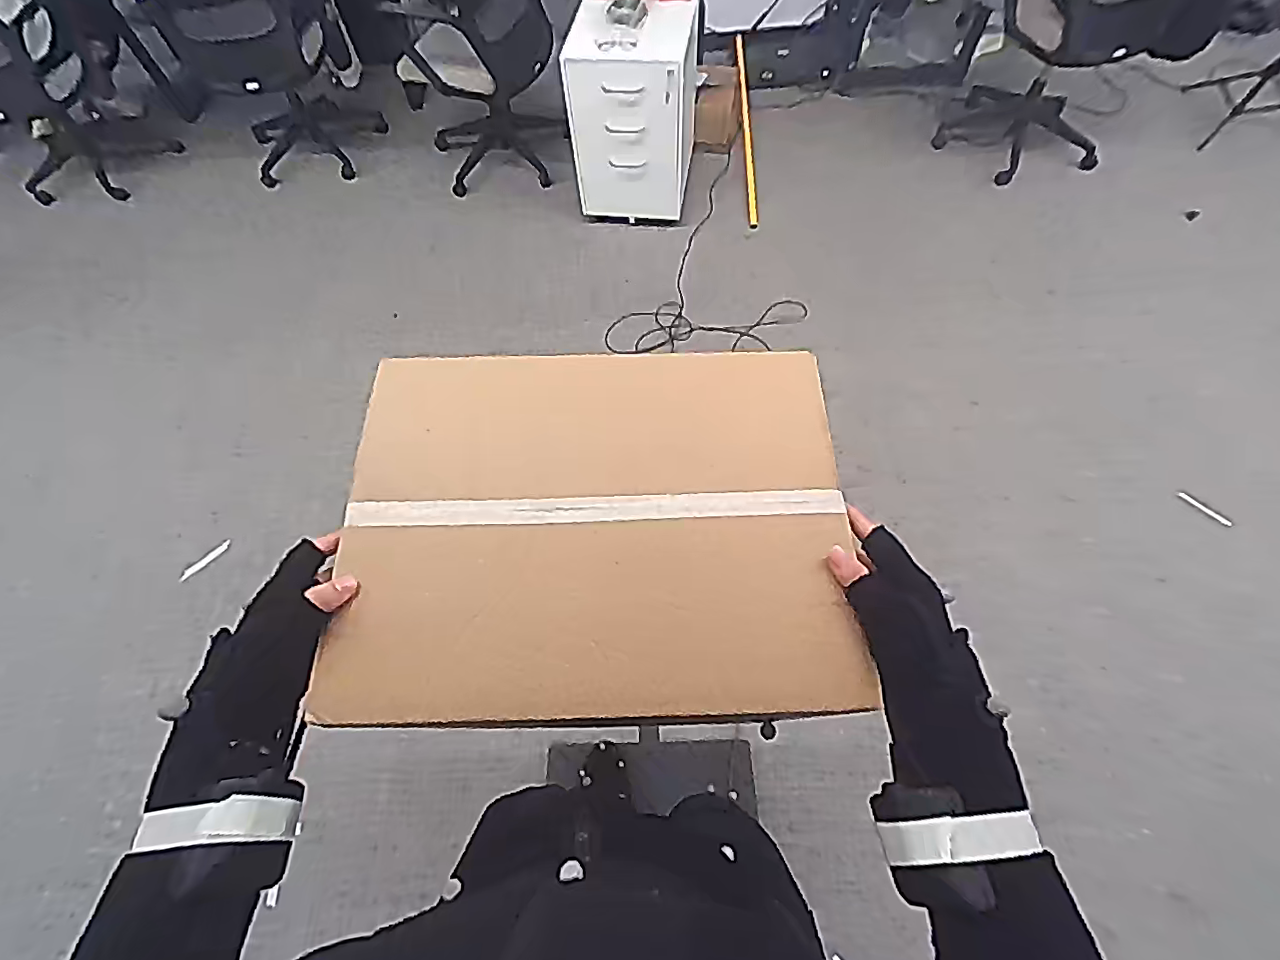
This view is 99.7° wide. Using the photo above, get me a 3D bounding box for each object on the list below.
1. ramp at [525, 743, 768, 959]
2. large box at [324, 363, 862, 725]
[{"bbox_3d":[0.012,1.044,1.023,0.509,0.206,0.991,-4,61,1],"label":"ramp"},{"bbox_3d":[-0.037,0.091,0.590,0.408,0.320,0.320,-1,65,-1],"label":"large box"}]
